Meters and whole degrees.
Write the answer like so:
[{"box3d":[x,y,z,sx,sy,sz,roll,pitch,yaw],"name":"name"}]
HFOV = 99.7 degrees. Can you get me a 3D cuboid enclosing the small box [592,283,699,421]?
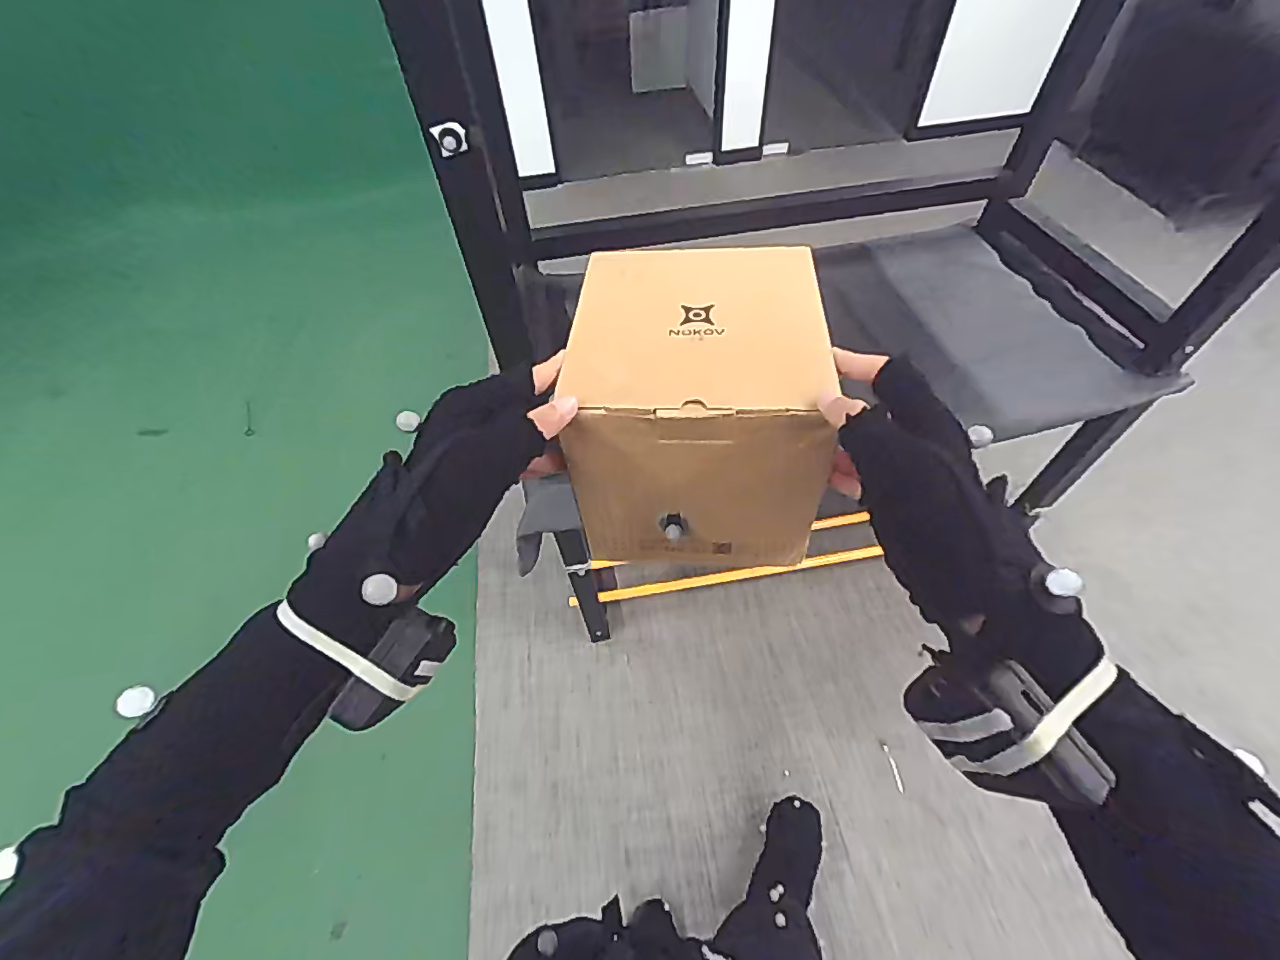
[{"box3d":[0.007,-0.235,0.998,0.168,0.176,0.179,-9,52,-3],"name":"small box"}]
